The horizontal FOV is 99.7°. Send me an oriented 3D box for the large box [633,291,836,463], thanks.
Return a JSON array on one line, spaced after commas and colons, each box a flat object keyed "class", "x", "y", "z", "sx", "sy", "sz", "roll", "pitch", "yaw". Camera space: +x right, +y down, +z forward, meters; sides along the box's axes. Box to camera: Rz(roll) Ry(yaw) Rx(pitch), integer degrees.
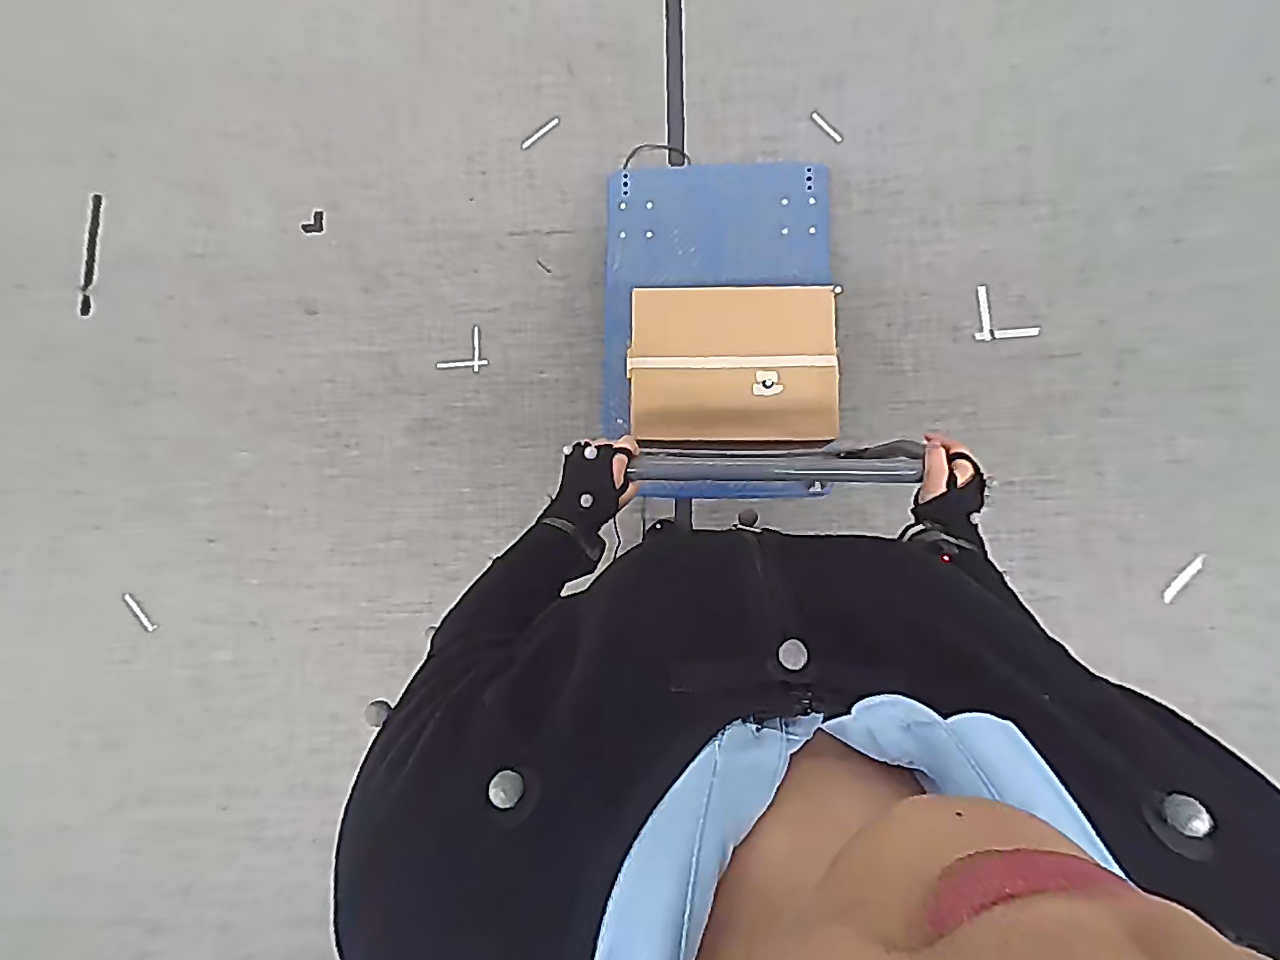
[{"class": "large box", "x": 0.190, "y": -0.213, "z": 1.227, "sx": 0.408, "sy": 0.320, "sz": 0.320, "roll": 0, "pitch": 85, "yaw": 2}]
